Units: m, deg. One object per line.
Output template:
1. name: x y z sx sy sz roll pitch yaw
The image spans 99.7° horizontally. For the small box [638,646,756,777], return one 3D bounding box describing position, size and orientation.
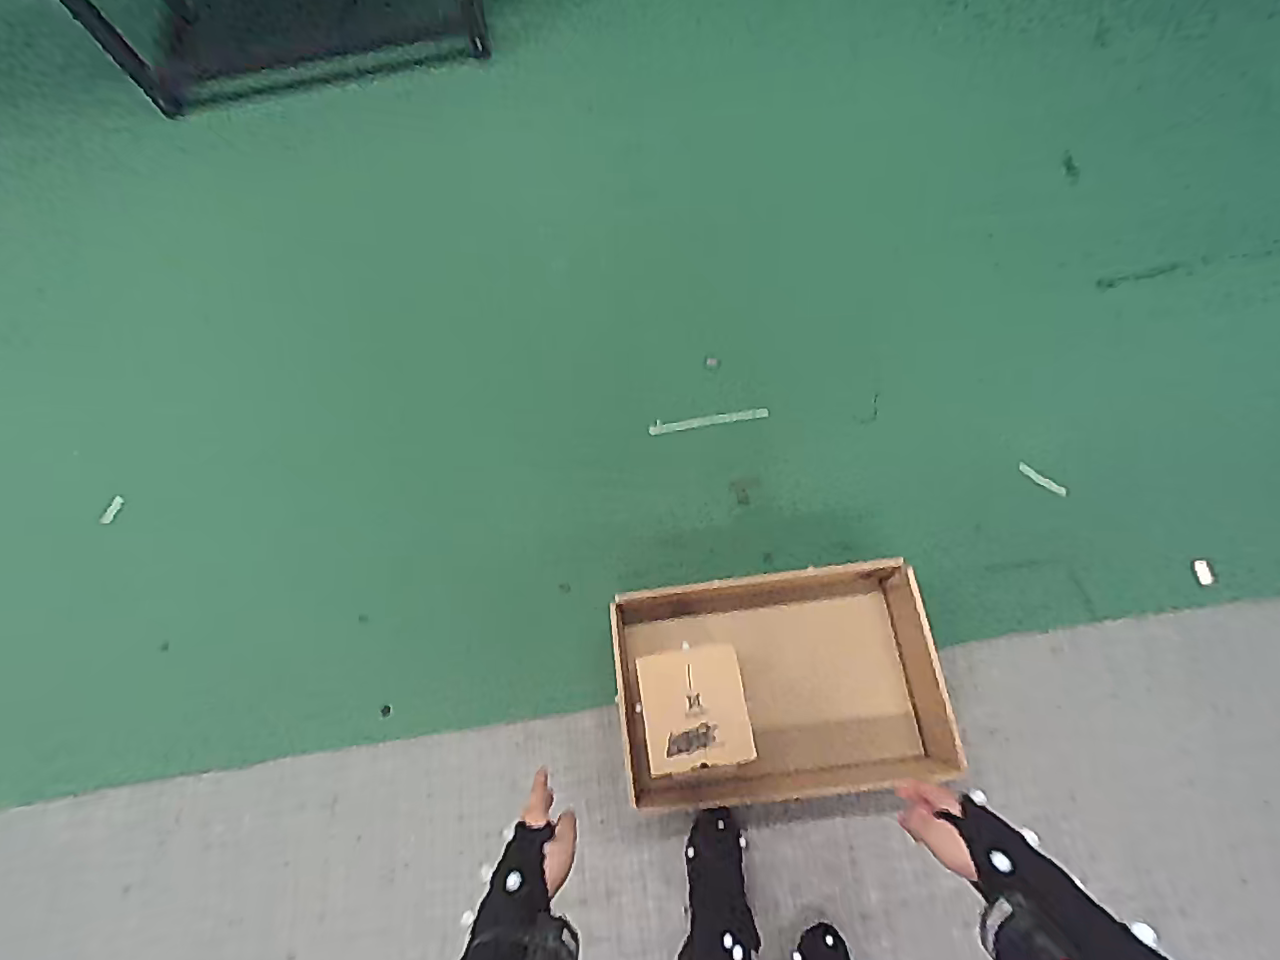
1. small box: 0.091 0.385 0.922 0.168 0.176 0.179 -8 70 0
